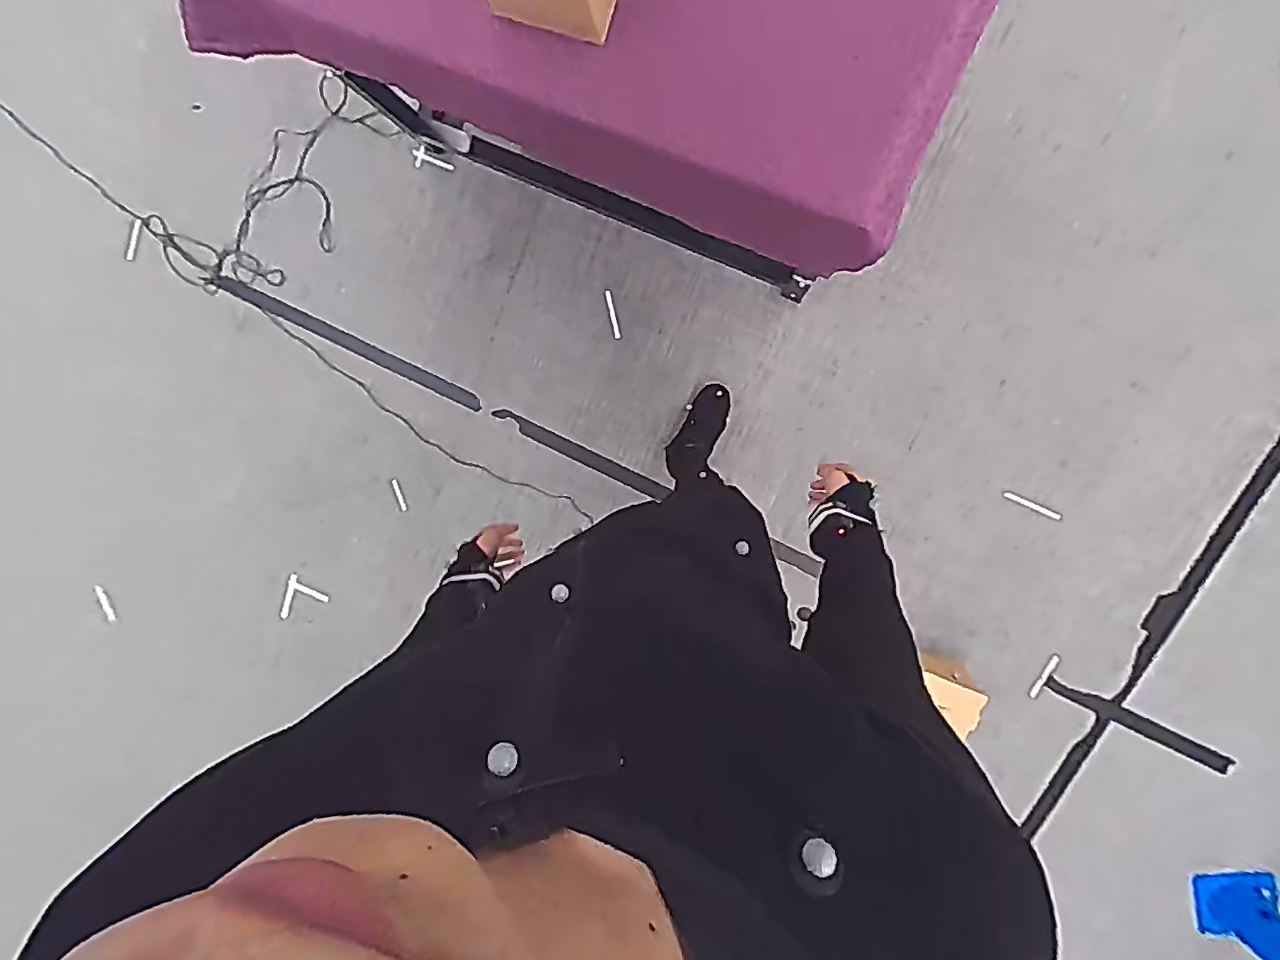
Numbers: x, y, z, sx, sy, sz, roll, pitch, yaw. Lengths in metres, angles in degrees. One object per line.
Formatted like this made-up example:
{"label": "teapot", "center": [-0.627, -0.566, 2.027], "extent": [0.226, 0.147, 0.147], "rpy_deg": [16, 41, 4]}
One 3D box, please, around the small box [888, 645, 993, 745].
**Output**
{"label": "small box", "center": [0.815, 0.583, 1.491], "extent": [0.179, 0.176, 0.168], "rpy_deg": [21, 102, 6]}

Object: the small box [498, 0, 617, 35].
{"label": "small box", "center": [-0.117, -0.728, 0.697], "extent": [0.179, 0.176, 0.168], "rpy_deg": [20, 102, 5]}
